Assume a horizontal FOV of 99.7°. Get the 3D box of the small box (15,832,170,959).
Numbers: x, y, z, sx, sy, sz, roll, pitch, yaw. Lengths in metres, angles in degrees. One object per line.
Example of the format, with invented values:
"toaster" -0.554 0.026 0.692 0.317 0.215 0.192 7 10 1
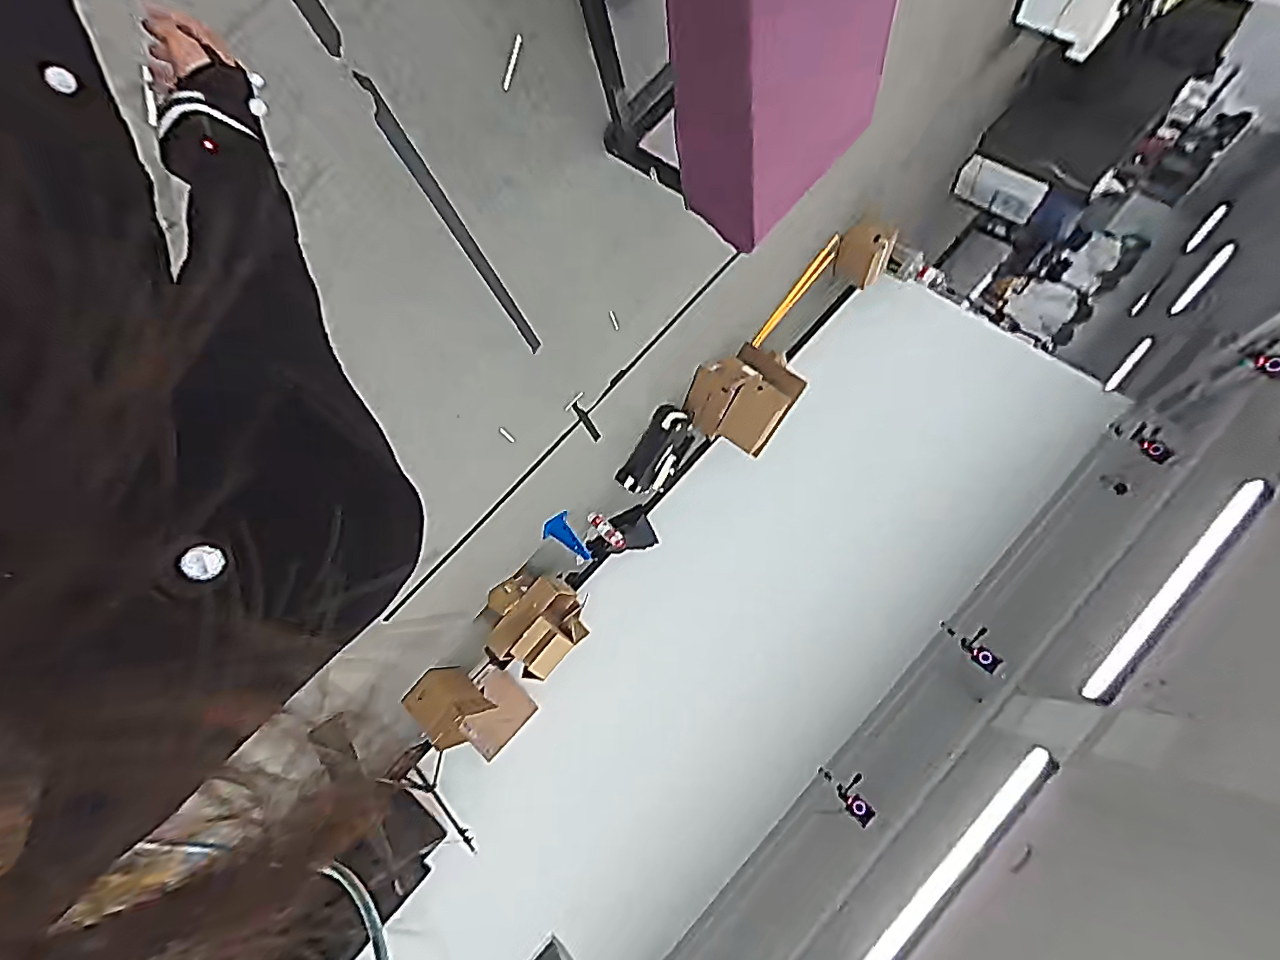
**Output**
"small box" -1.265 0.965 1.251 0.168 0.176 0.179 -45 159 -6
